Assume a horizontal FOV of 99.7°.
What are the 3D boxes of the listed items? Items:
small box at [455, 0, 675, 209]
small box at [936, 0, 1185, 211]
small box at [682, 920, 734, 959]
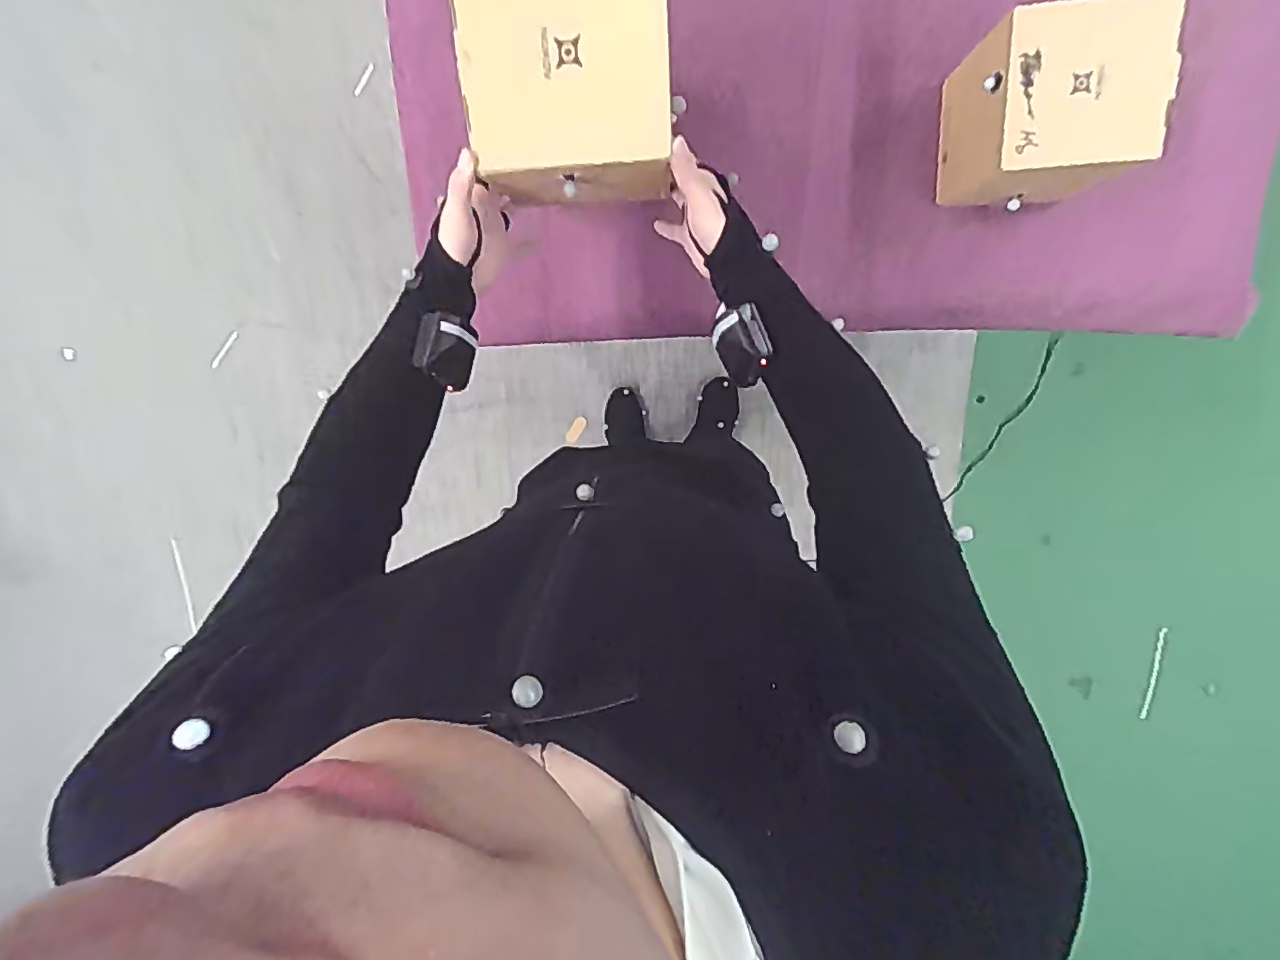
[{"bbox_3d":[-0.056,-0.369,0.525,0.179,0.176,0.168,-2,108,5],"label":"small box"},{"bbox_3d":[0.505,-0.450,0.678,0.179,0.176,0.168,-1,102,5],"label":"small box"},{"bbox_3d":[0.244,1.729,1.937,0.179,0.176,0.168,5,103,5],"label":"small box"}]
